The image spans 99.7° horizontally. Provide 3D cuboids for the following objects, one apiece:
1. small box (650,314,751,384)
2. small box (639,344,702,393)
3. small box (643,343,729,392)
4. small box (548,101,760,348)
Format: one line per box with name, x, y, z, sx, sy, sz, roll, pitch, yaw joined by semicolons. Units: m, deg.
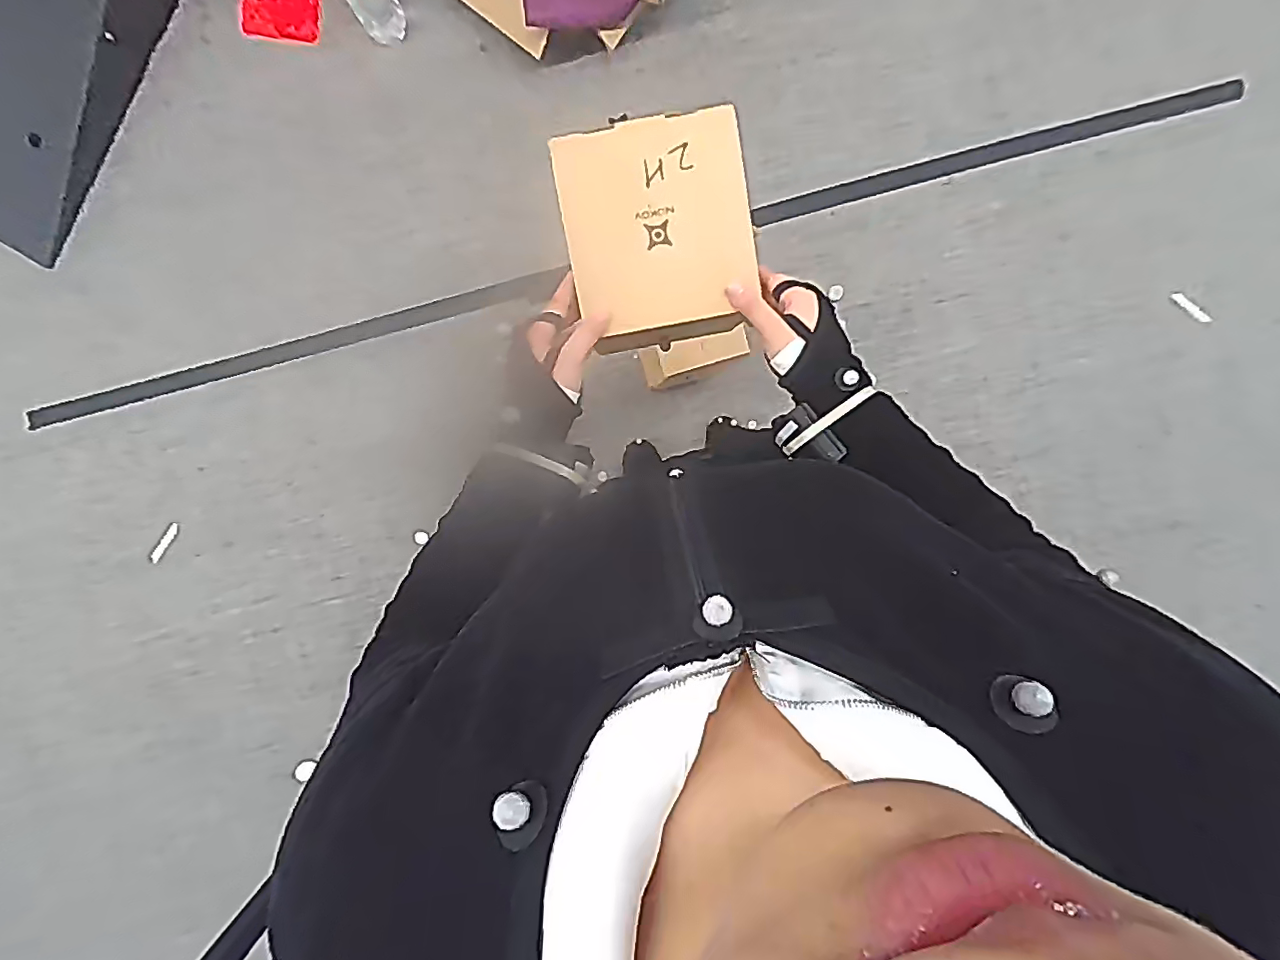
small box;0.101;-0.298;1.061;0.168;0.176;0.179;-16;96;1
small box;0.094;-0.326;1.388;0.179;0.176;0.168;-15;94;2
small box;0.096;-0.310;1.225;0.168;0.176;0.179;-16;94;1
small box;0.016;-0.238;0.556;0.168;0.176;0.179;-11;97;2
